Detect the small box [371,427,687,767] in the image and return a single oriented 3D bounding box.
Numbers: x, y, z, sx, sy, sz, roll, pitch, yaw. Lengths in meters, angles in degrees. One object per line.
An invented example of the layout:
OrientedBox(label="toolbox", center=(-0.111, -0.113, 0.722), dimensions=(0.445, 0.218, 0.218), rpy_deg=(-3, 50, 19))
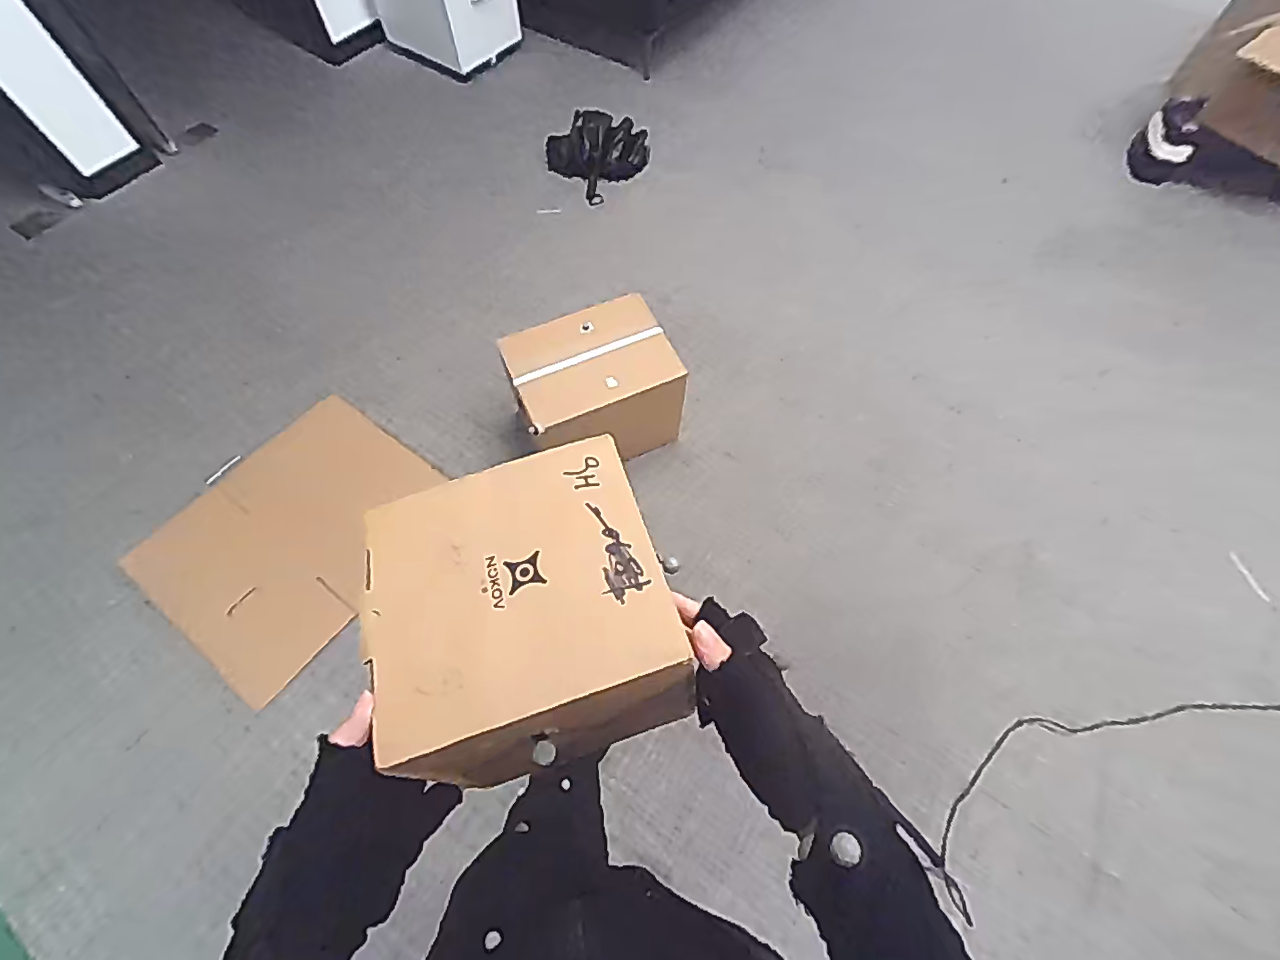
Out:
OrientedBox(label="small box", center=(-0.074, 0.095, 0.410), dimensions=(0.179, 0.176, 0.168), rpy_deg=(-20, 55, -7))
